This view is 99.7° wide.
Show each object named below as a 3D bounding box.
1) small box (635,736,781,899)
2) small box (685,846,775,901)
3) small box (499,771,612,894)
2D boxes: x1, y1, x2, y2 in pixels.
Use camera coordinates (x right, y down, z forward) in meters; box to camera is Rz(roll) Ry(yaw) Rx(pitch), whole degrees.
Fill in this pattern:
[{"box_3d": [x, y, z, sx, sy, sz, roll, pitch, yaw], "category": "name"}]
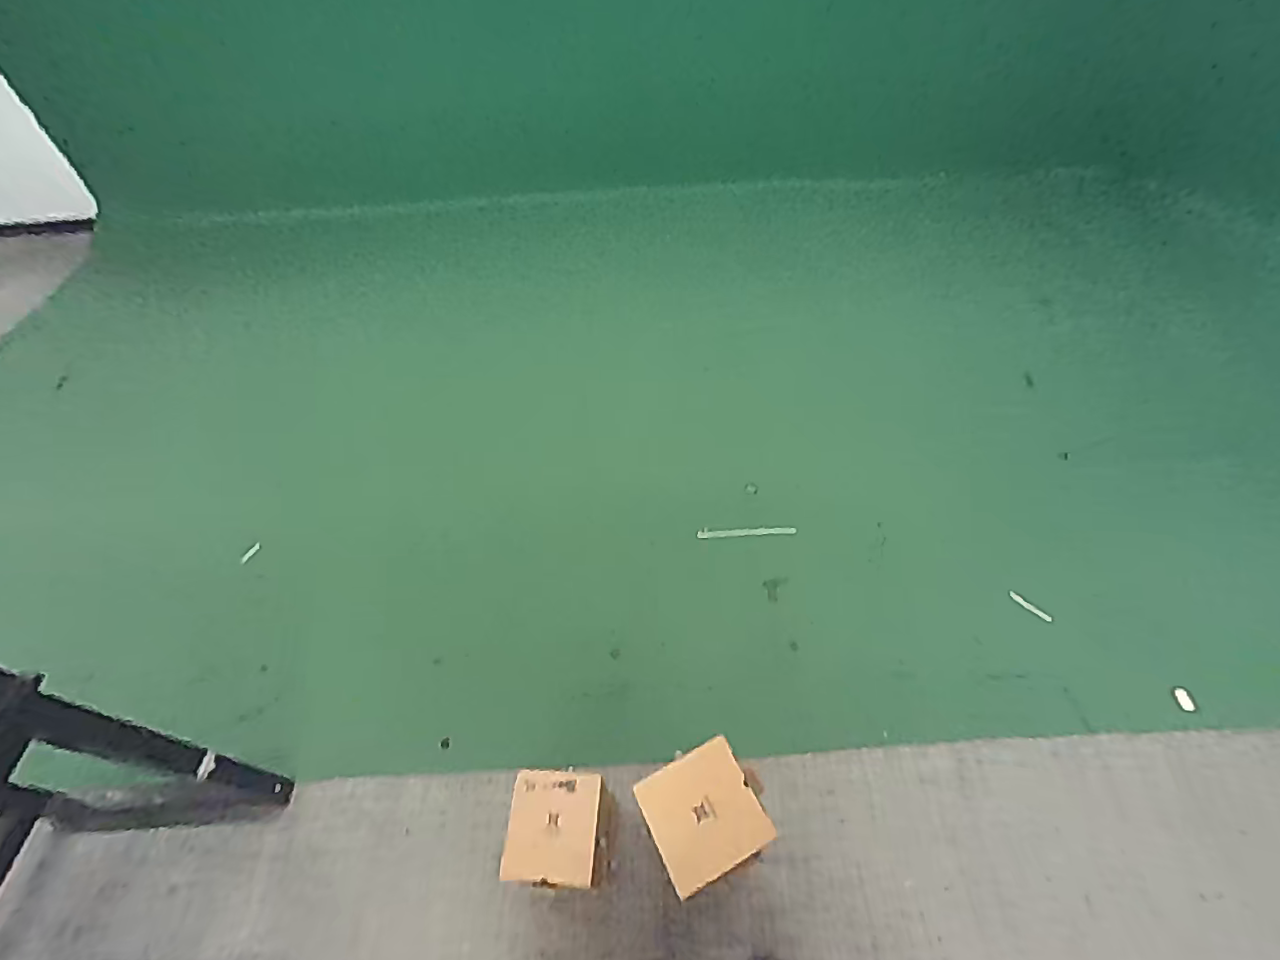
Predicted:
[{"box_3d": [0.107, 0.564, 0.900, 0.179, 0.176, 0.168, -23, 55, -15], "category": "small box"}, {"box_3d": [0.130, 0.667, 1.025, 0.179, 0.176, 0.168, -19, 55, -12], "category": "small box"}, {"box_3d": [-0.149, 0.674, 1.032, 0.168, 0.176, 0.179, 1, 51, 6], "category": "small box"}]
